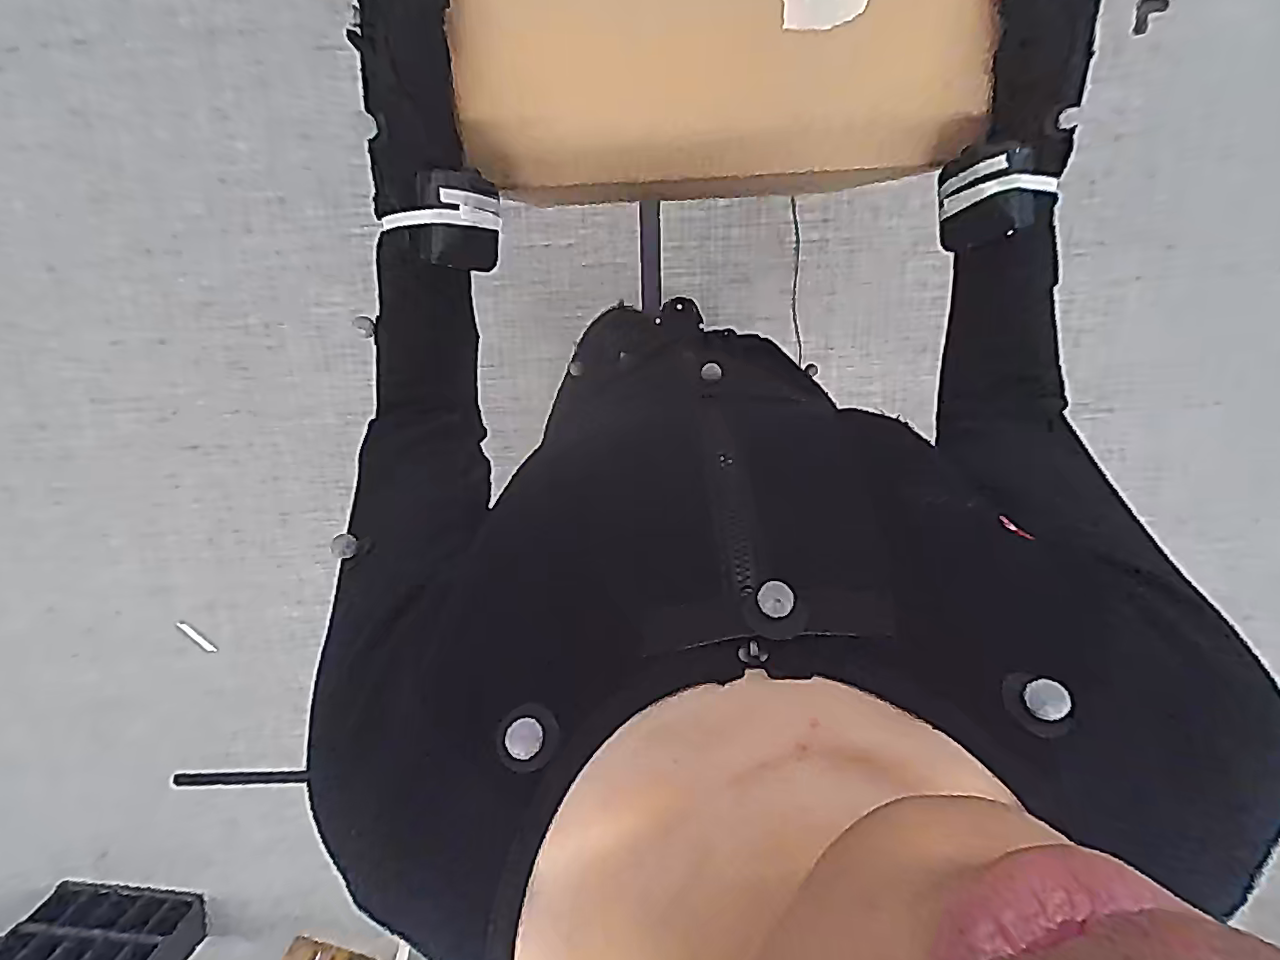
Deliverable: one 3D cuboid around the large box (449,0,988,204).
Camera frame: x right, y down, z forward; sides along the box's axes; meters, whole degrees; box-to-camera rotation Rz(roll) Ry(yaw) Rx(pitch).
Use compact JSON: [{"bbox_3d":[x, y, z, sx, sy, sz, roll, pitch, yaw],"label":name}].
[{"bbox_3d":[0.050,-0.455,0.510,0.408,0.320,0.320,-4,116,0],"label":"large box"}]
